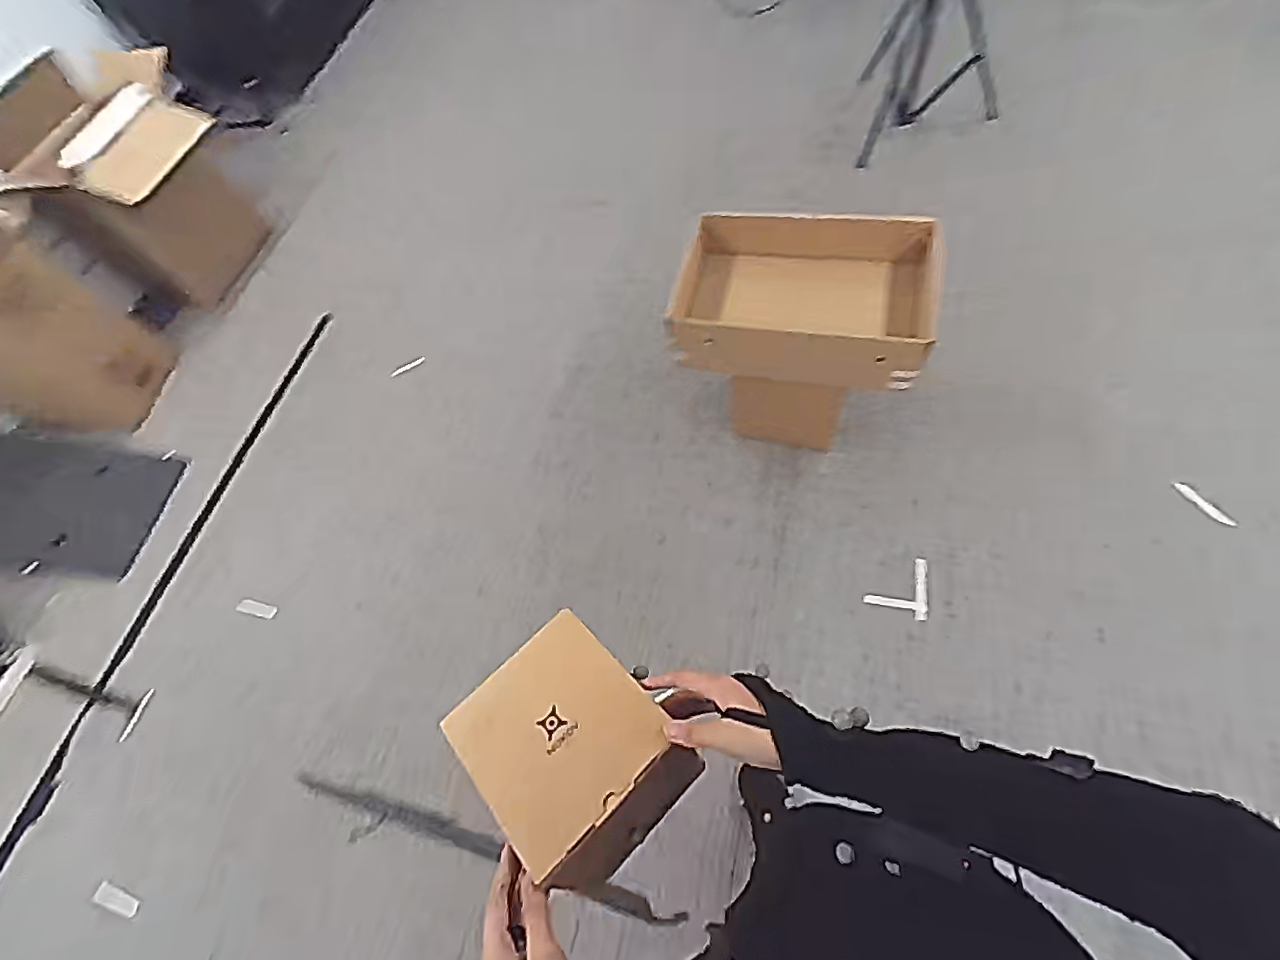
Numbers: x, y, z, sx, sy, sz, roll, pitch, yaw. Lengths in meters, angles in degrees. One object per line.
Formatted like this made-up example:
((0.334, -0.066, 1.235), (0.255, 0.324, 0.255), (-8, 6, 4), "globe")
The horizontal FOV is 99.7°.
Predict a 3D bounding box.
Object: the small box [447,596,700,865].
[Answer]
((-0.059, 0.261, 0.559), (0.168, 0.176, 0.179), (-40, 55, -17), "small box")
